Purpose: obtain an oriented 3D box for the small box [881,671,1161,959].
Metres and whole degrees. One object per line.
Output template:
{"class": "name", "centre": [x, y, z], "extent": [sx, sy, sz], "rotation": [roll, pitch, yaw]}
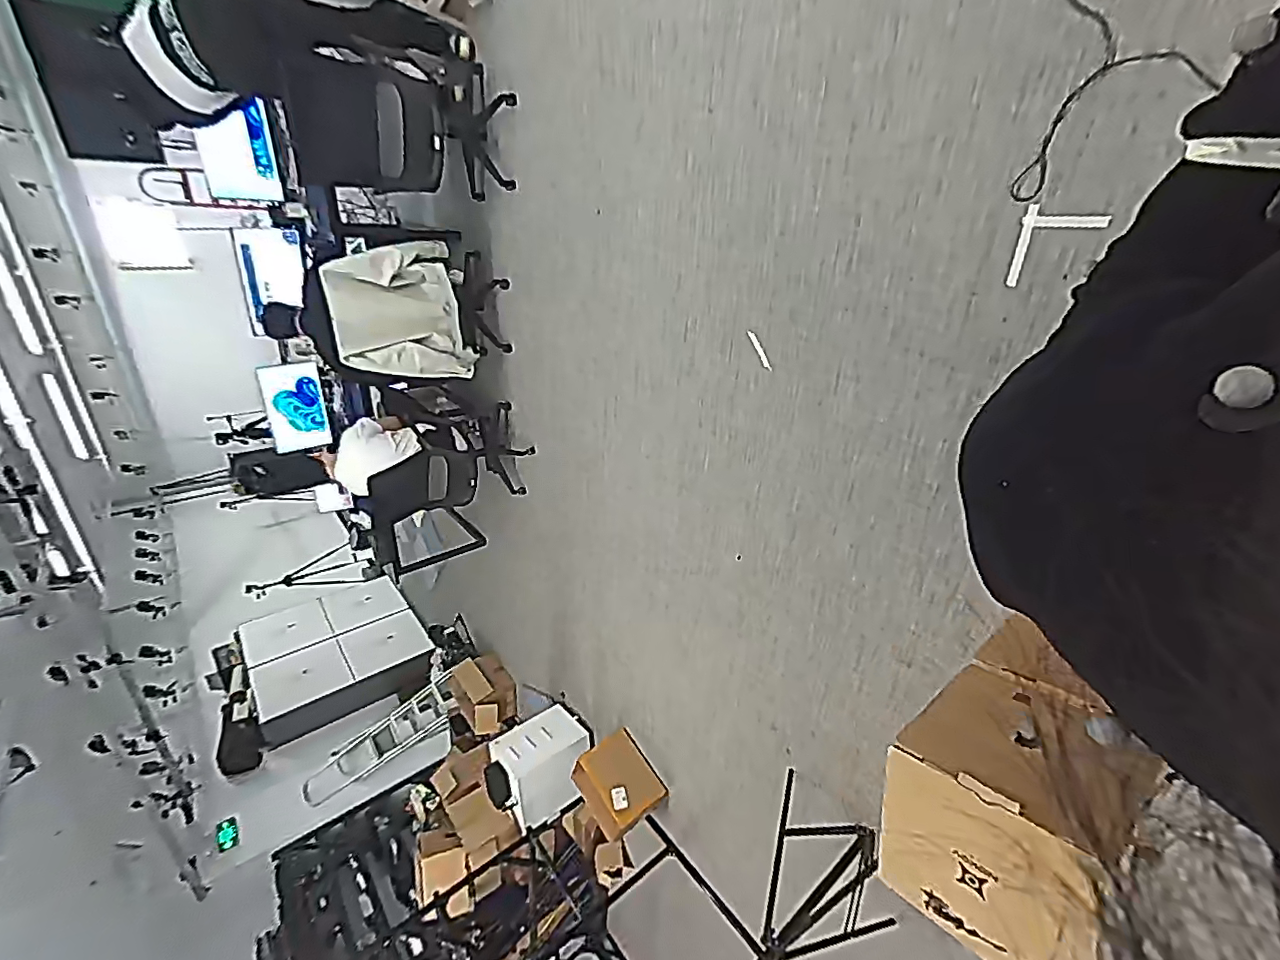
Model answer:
{"class": "small box", "centre": [0.355, 0.315, 0.512], "extent": [0.168, 0.176, 0.179], "rotation": [17, 116, 49]}
